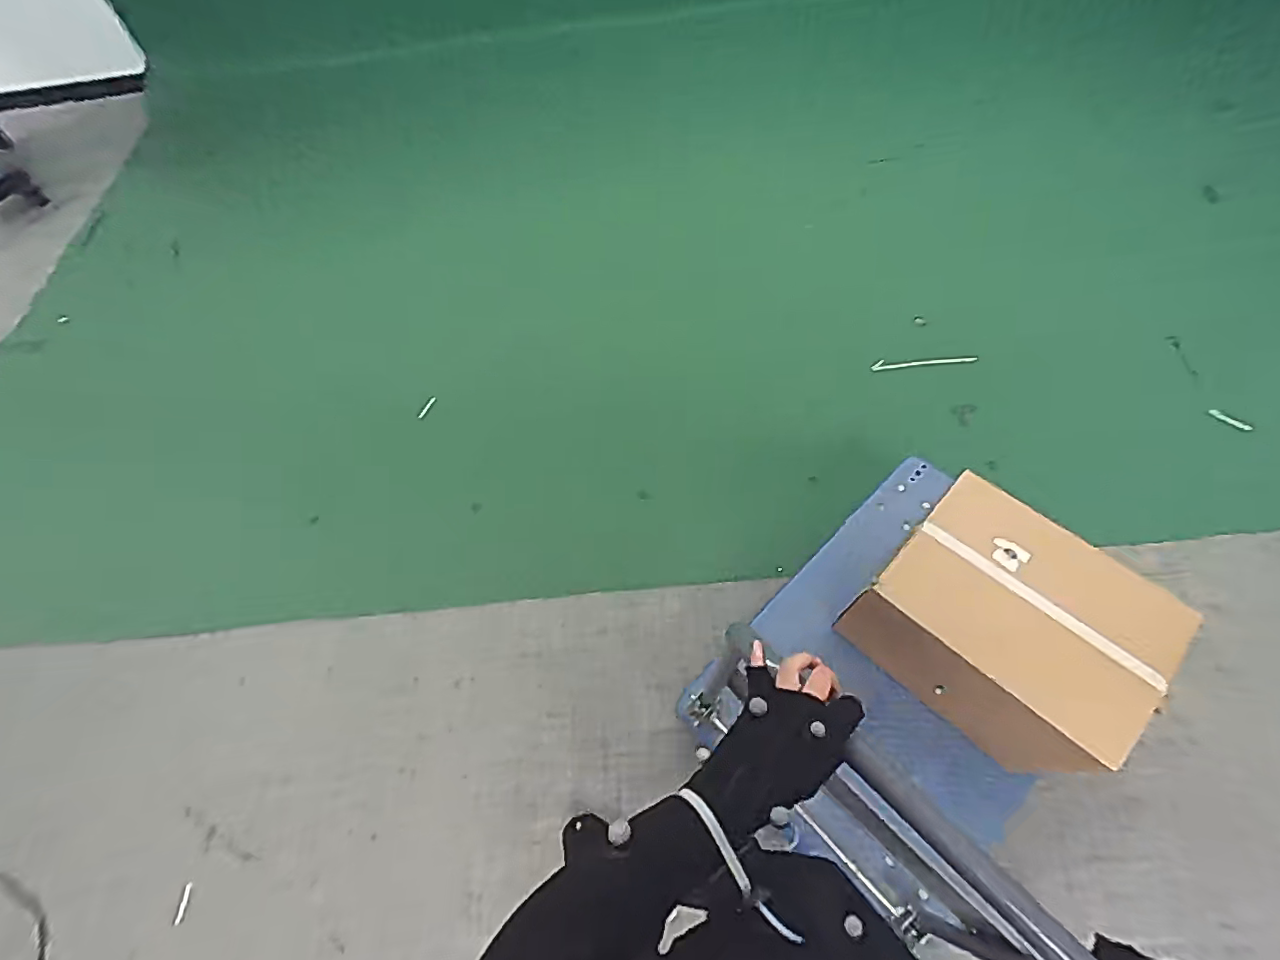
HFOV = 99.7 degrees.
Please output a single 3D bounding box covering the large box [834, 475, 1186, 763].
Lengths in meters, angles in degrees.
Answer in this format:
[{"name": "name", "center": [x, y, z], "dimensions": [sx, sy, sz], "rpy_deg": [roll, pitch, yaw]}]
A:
[{"name": "large box", "center": [0.656, 0.270, 1.036], "dimensions": [0.408, 0.320, 0.320], "rpy_deg": [38, 71, 23]}]
